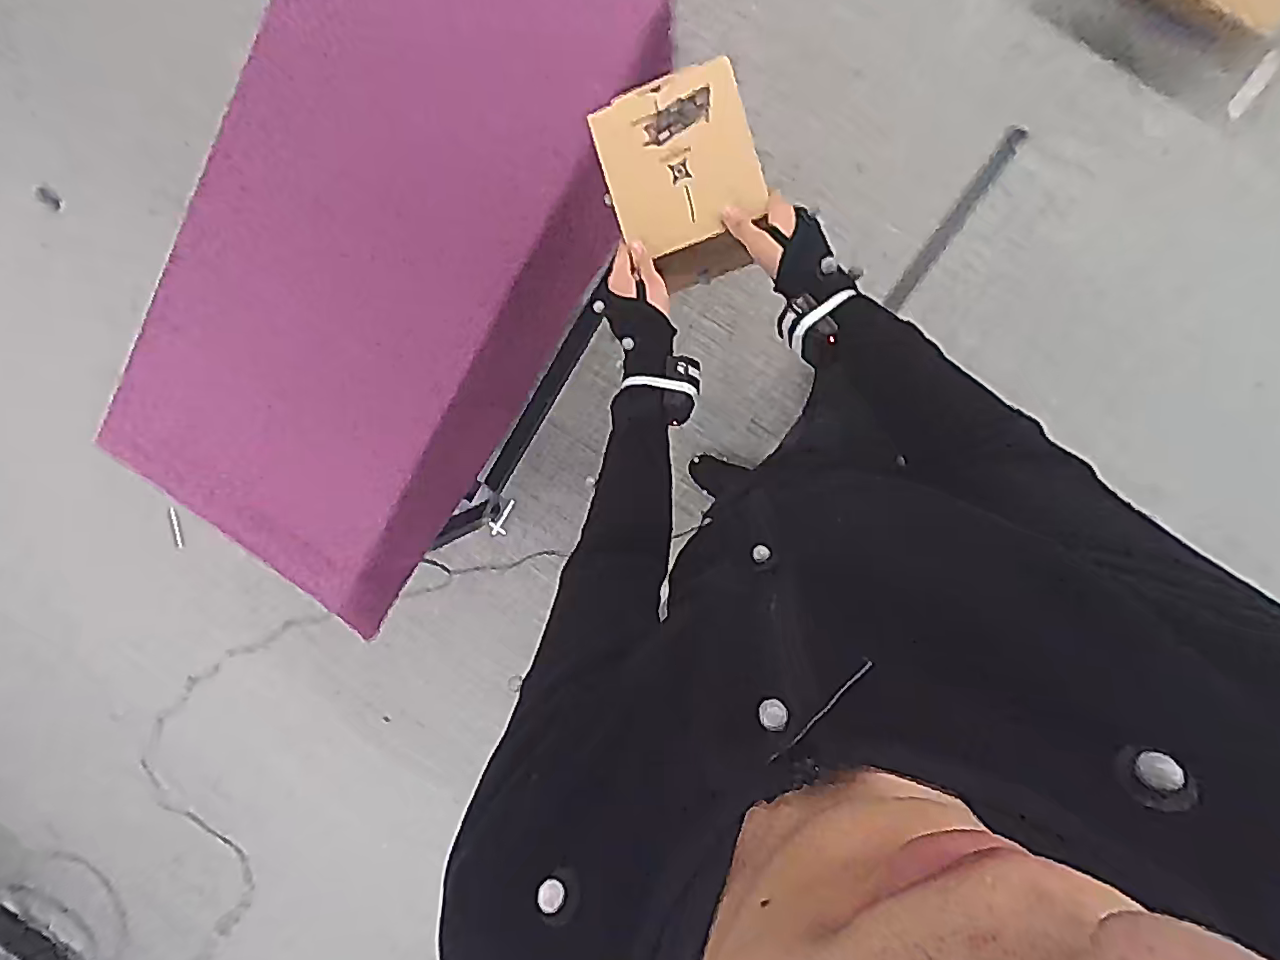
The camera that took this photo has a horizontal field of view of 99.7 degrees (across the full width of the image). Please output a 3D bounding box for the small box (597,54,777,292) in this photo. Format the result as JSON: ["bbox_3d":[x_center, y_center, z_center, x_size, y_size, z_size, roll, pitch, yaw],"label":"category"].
[{"bbox_3d":[0.062,-0.362,0.676,0.168,0.176,0.179,-16,93,11],"label":"small box"}]
